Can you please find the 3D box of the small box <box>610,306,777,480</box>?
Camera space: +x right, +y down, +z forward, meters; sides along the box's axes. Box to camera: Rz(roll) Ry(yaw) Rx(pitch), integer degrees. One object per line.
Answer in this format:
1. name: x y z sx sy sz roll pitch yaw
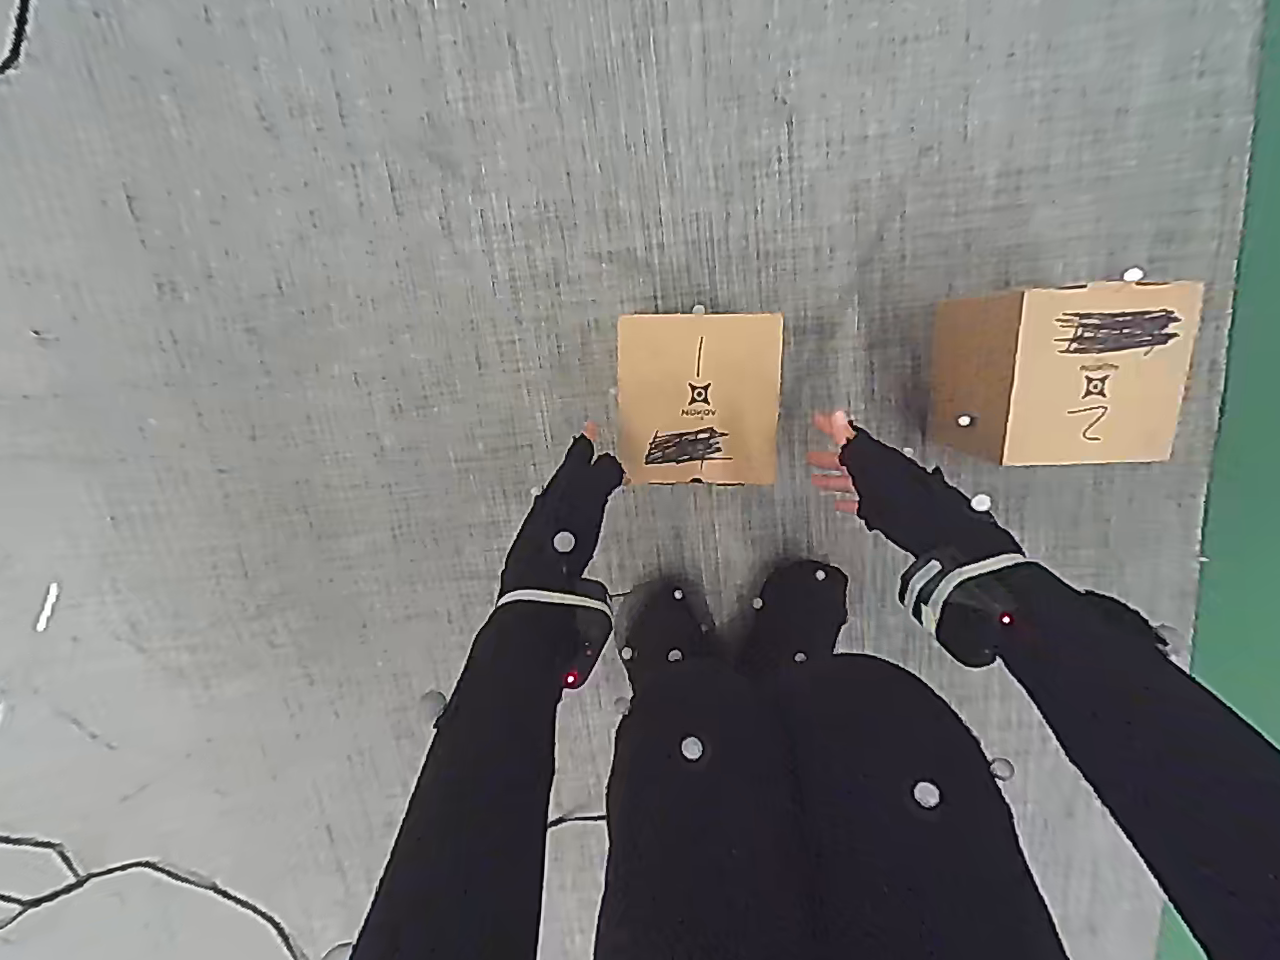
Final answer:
1. small box: 0.055 -0.104 0.624 0.168 0.176 0.179 0 103 2
